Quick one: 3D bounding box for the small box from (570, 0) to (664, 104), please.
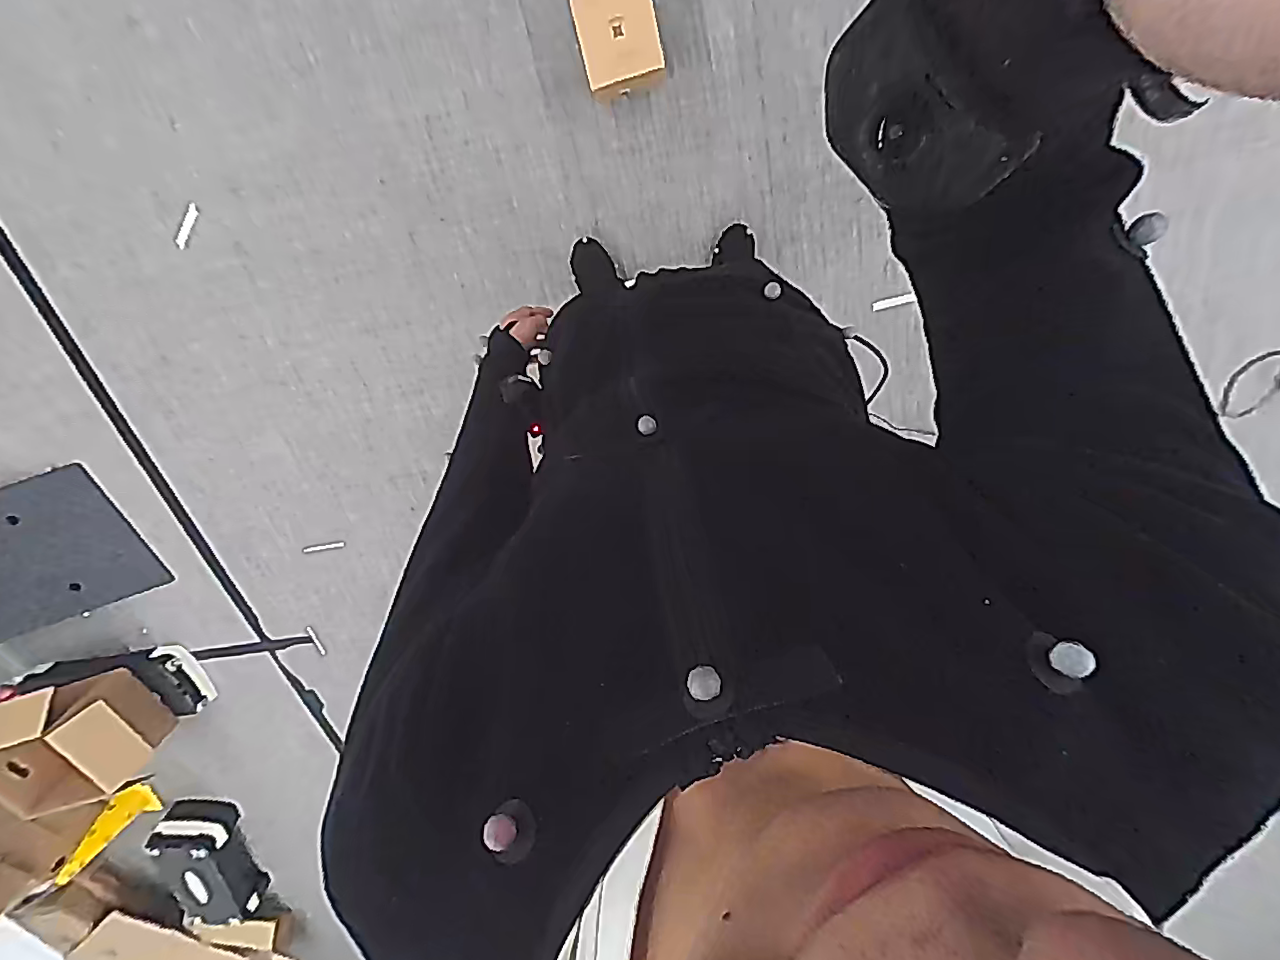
[{"bbox_3d":[-0.046,-0.957,1.180,0.168,0.176,0.179,-12,116,8],"label":"small box"}]
